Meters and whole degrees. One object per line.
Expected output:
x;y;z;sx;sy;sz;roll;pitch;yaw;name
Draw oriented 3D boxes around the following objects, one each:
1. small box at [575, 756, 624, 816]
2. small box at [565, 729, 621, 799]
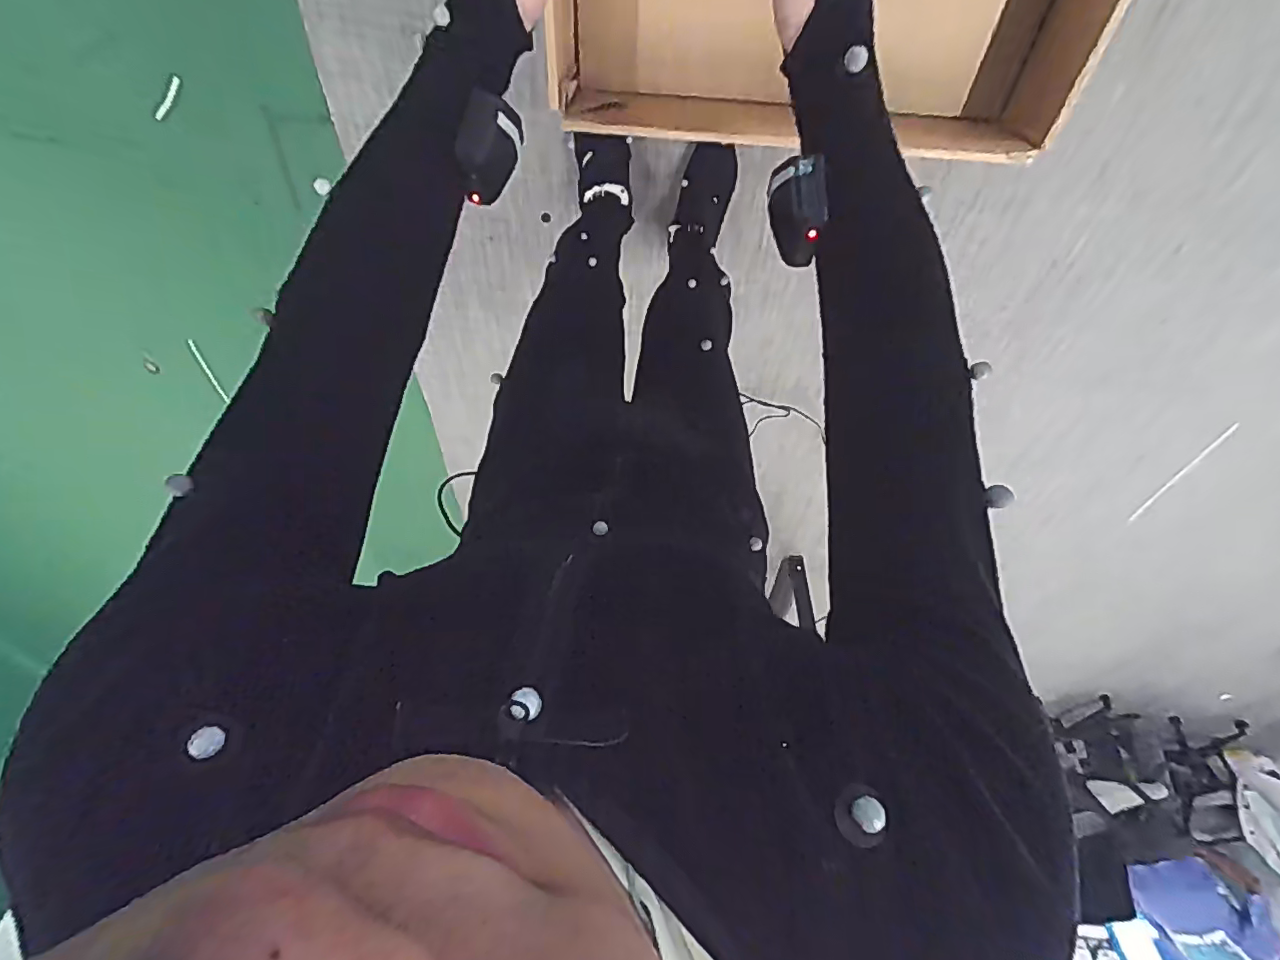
-0.146;1.129;2.004;0.168;0.176;0.179;1;136;1;small box
-0.152;0.951;1.809;0.168;0.176;0.179;2;138;1;small box
